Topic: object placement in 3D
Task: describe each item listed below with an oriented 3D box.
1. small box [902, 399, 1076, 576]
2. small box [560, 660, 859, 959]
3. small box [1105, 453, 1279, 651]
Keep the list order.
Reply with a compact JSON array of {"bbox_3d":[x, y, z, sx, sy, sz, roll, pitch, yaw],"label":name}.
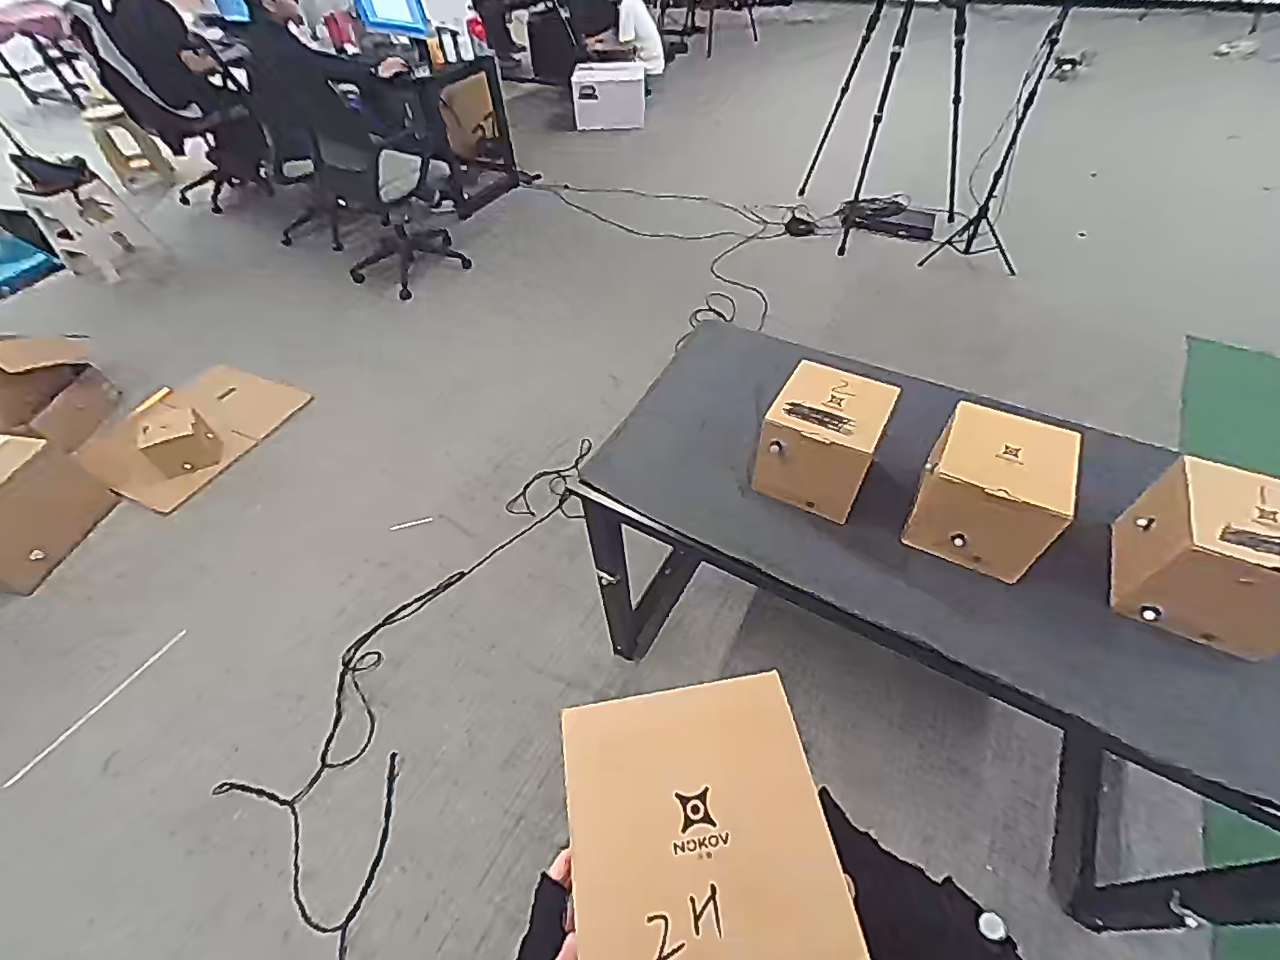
[{"bbox_3d":[0.524,0.011,0.828,0.168,0.176,0.179,22,55,20],"label":"small box"},{"bbox_3d":[0.035,0.263,0.413,0.168,0.176,0.179,-9,52,-3],"label":"small box"},{"bbox_3d":[0.776,0.100,0.734,0.168,0.176,0.179,22,53,21],"label":"small box"}]
